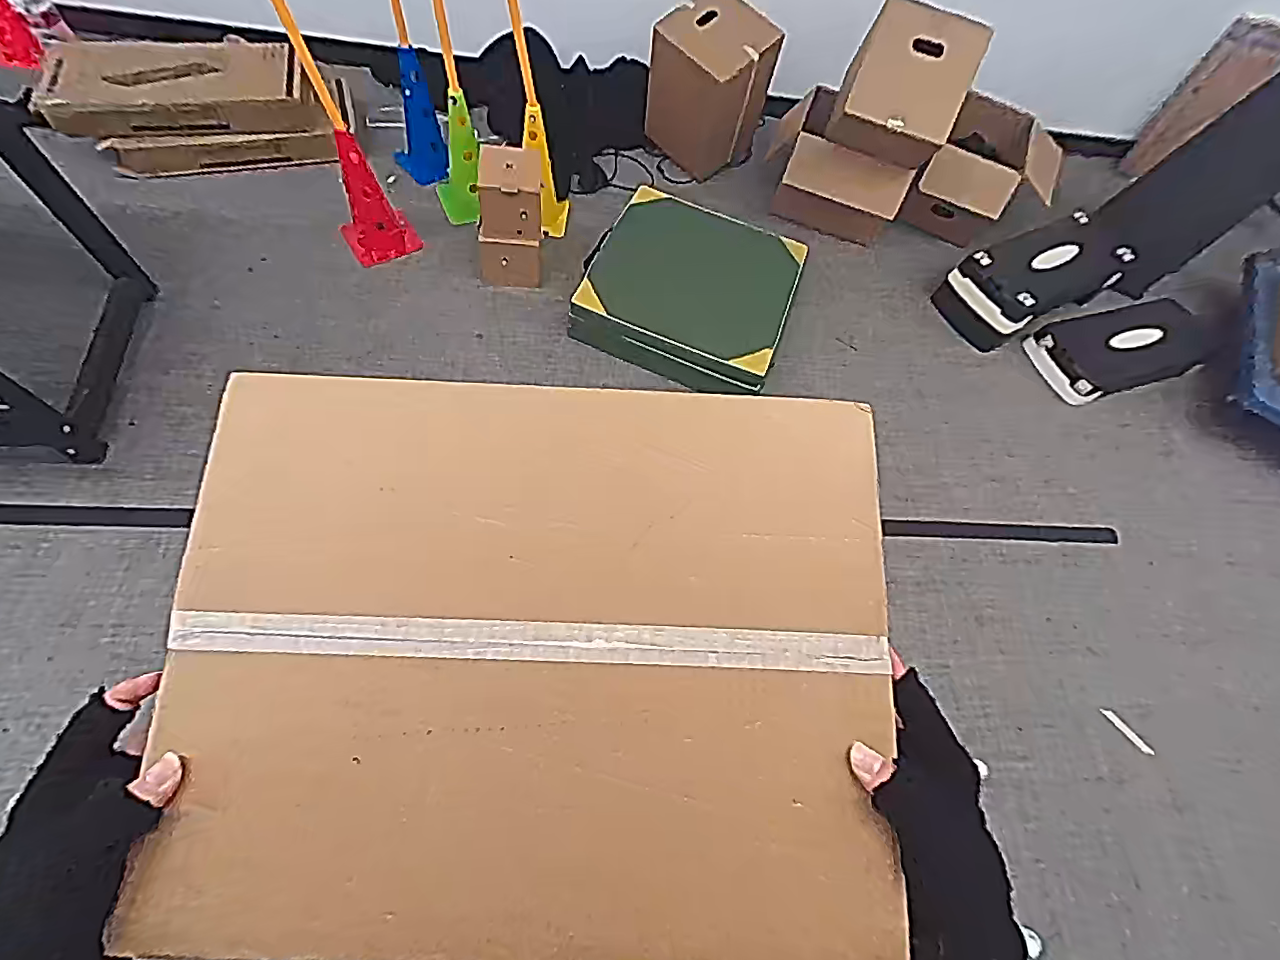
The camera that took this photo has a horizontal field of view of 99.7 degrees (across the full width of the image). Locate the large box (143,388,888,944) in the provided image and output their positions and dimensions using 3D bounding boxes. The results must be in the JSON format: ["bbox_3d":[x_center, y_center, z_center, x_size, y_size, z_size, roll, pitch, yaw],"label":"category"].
[{"bbox_3d":[-0.064,0.130,0.466,0.408,0.320,0.320,3,77,-1],"label":"large box"}]
